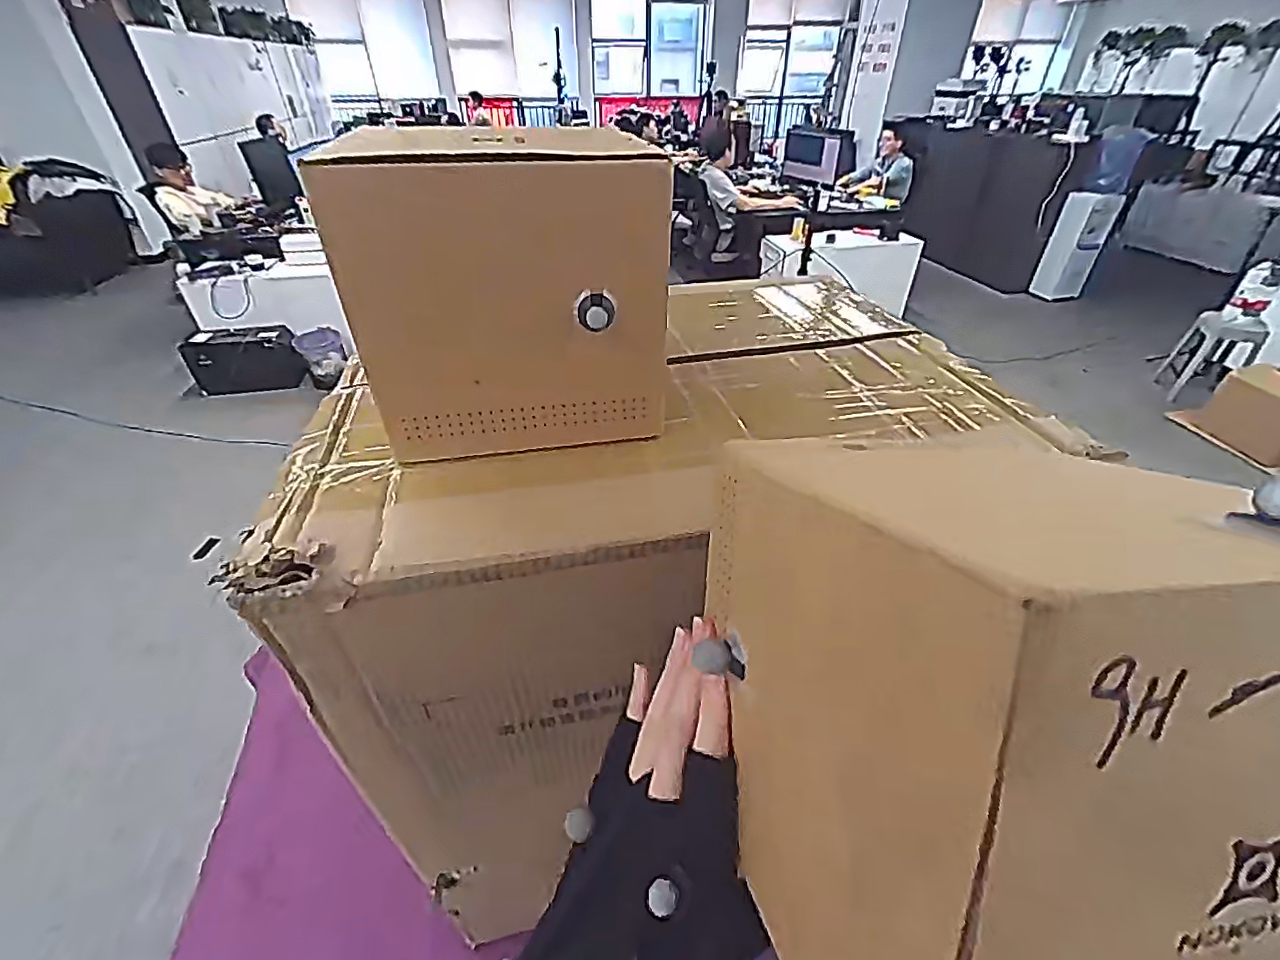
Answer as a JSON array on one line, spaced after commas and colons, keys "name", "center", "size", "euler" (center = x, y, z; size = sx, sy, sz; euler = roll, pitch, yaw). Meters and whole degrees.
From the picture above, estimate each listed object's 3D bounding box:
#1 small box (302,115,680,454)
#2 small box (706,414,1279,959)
[{"name": "small box", "center": [-0.081, -0.135, 0.361], "size": [0.179, 0.176, 0.168], "euler": [-8, 37, -10]}, {"name": "small box", "center": [0.131, 0.074, 0.209], "size": [0.168, 0.179, 0.176], "euler": [-1, 14, -13]}]
